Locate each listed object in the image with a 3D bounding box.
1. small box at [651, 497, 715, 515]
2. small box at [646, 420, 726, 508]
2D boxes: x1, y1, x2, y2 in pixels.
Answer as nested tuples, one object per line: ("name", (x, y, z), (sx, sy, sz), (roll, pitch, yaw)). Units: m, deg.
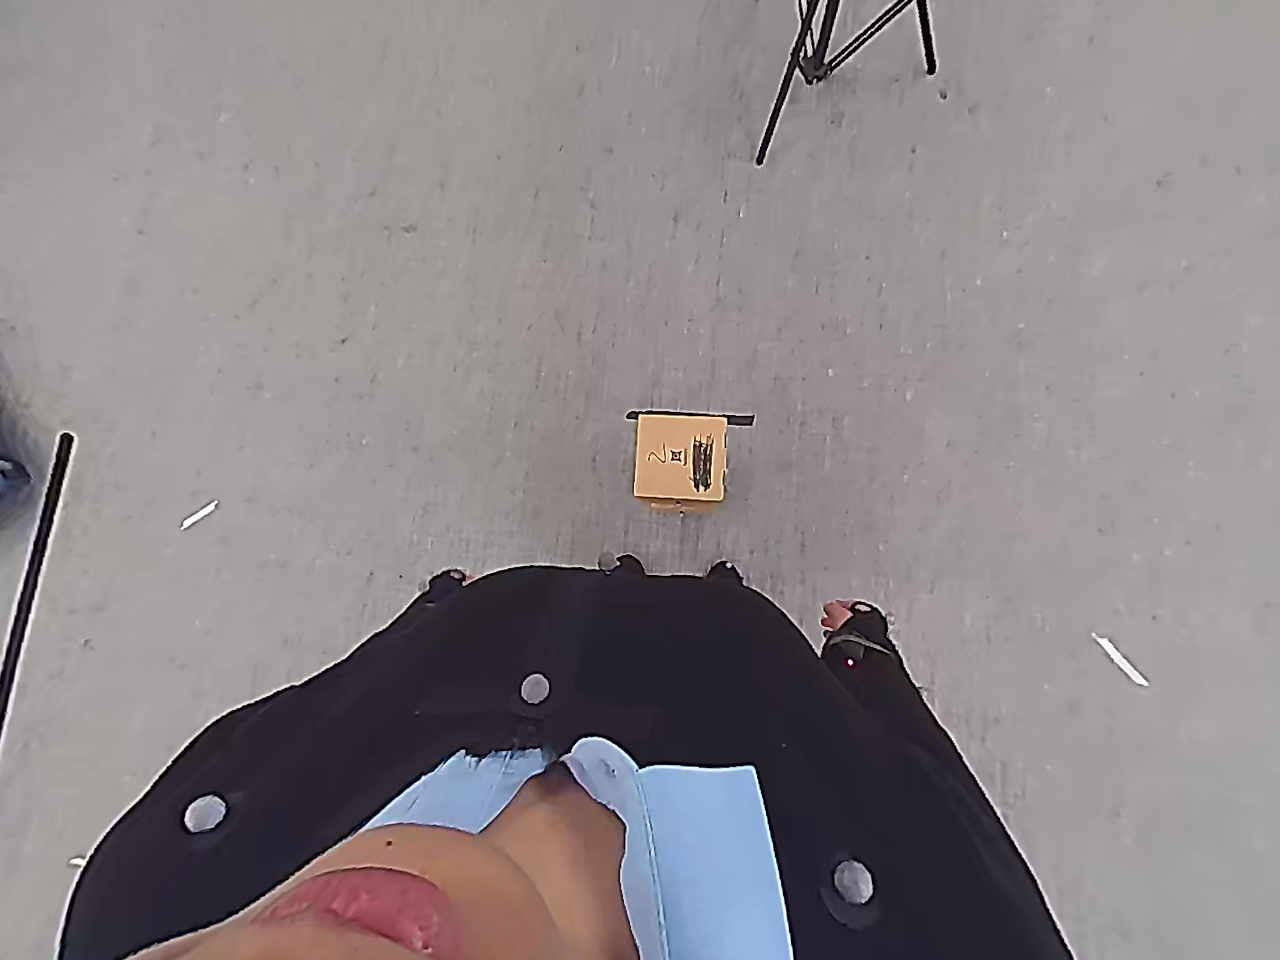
("small box", (0.122, -0.001, 1.445), (0.168, 0.176, 0.179), (3, 82, 6))
("small box", (0.110, -0.032, 1.285), (0.168, 0.176, 0.179), (5, 83, 7))
